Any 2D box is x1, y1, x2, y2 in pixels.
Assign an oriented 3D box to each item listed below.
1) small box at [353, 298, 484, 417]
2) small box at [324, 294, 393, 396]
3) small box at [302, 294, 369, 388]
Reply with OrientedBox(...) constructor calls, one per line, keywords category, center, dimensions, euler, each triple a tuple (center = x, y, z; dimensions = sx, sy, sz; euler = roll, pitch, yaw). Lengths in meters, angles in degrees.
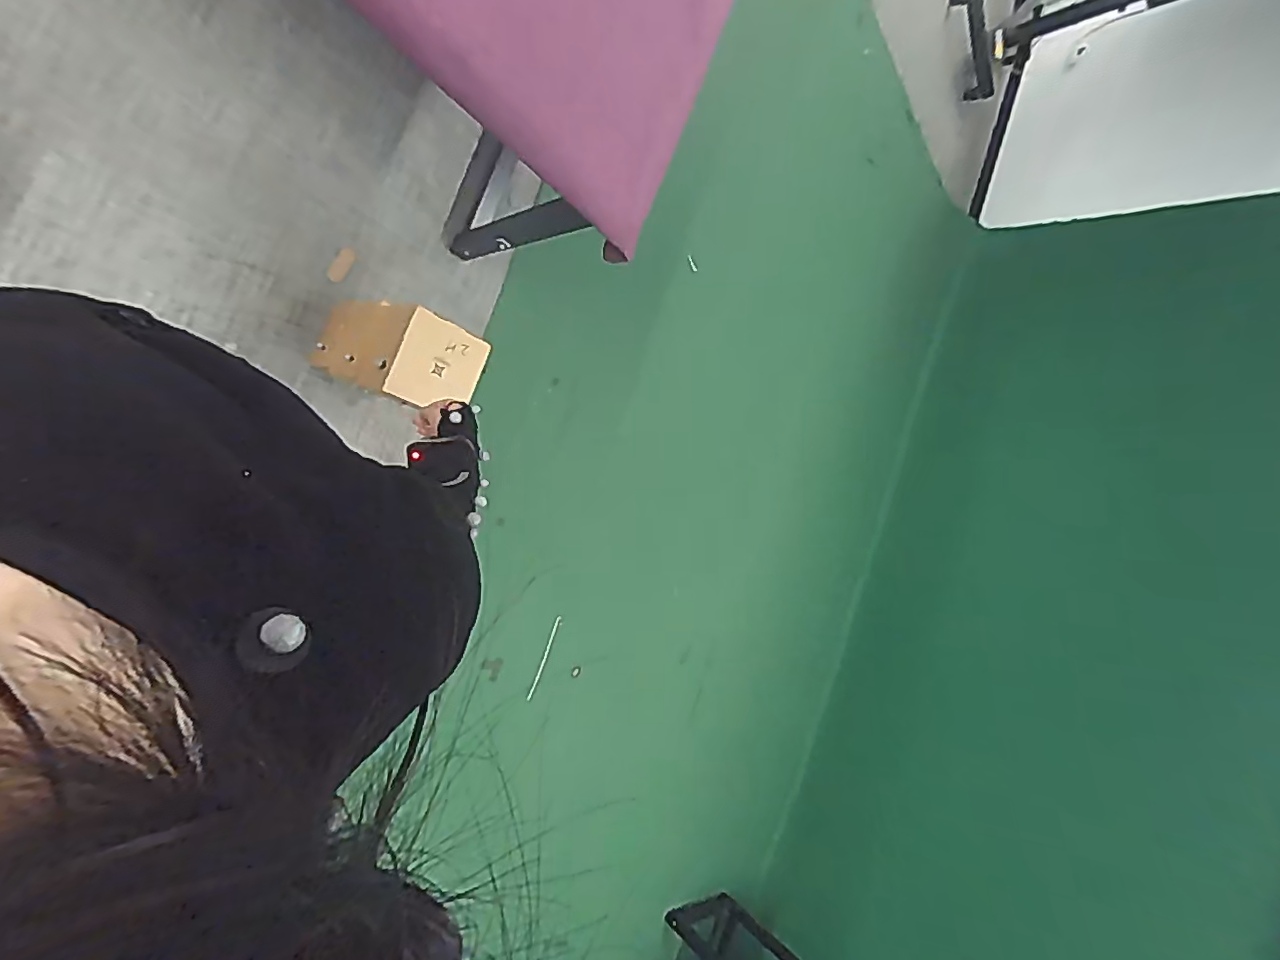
OrientedBox(category="small box", center=(-0.455, -0.248, 1.099), dimensions=(0.168, 0.176, 0.179), euler=(25, 84, -46))
OrientedBox(category="small box", center=(-0.574, -0.294, 1.205), dimensions=(0.168, 0.176, 0.179), euler=(24, 85, -45))
OrientedBox(category="small box", center=(-0.687, -0.328, 1.315), dimensions=(0.179, 0.176, 0.168), euler=(28, 81, -45))
